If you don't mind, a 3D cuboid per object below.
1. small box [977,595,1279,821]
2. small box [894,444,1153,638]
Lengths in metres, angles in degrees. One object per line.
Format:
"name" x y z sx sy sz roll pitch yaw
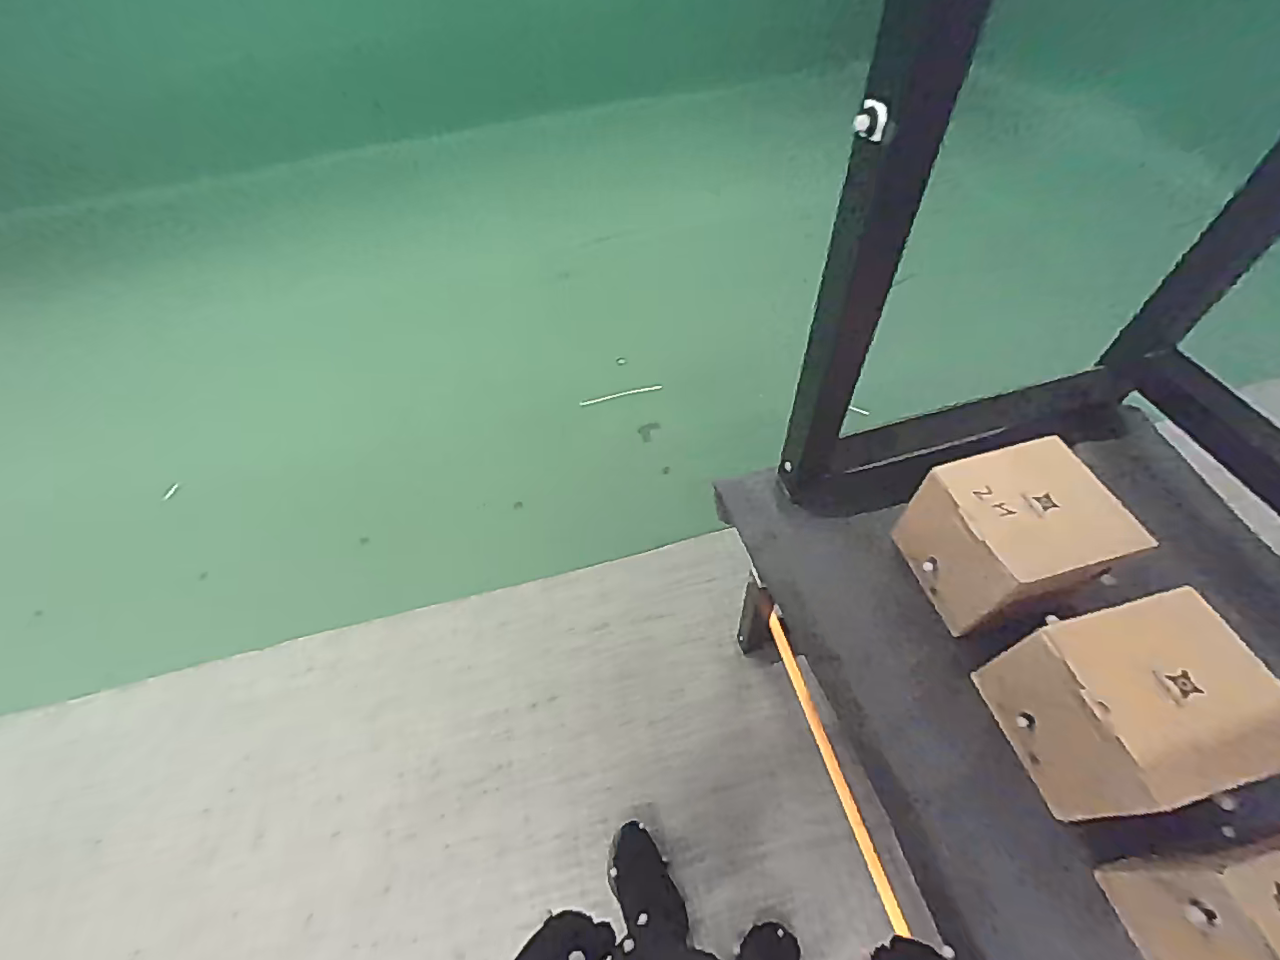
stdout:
"small box" 0.514 0.247 0.577 0.179 0.176 0.168 -14 55 -5
"small box" 0.467 0.082 0.695 0.179 0.176 0.168 -14 55 -5
